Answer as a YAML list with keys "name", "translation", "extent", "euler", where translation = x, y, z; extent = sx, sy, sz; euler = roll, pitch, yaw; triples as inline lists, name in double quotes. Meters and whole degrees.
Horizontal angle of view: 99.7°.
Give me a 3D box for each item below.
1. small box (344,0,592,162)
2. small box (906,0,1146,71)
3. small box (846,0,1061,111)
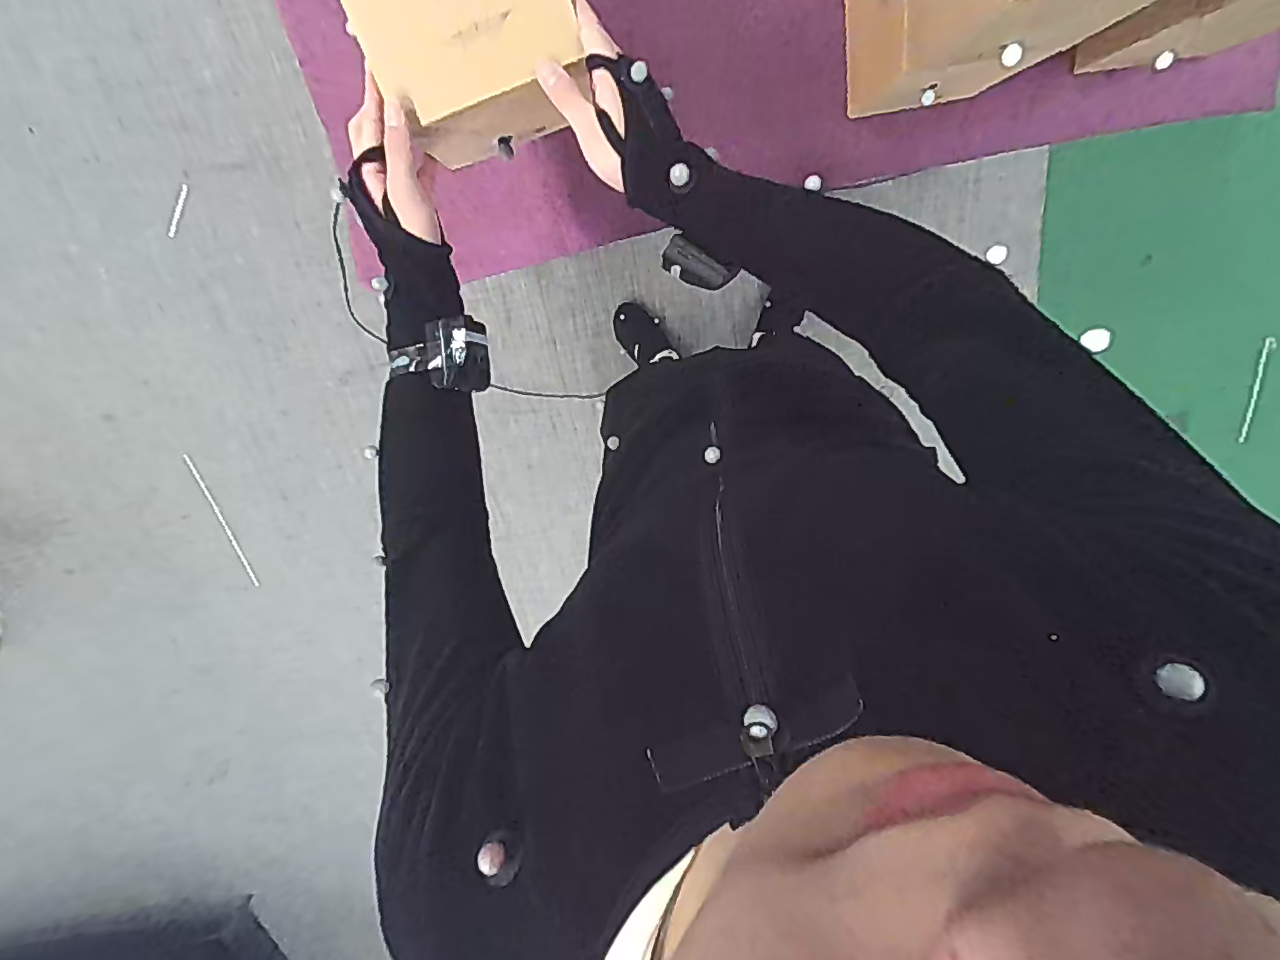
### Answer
- name: "small box"
  translation: [-0.147, -0.409, 0.470]
  extent: [0.168, 0.176, 0.179]
  euler: [-19, 111, 4]
- name: "small box"
  translation: [0.337, -0.477, 0.442]
  extent: [0.168, 0.176, 0.179]
  euler: [-8, 111, 4]
- name: "small box"
  translation: [0.337, -0.534, 0.596]
  extent: [0.168, 0.176, 0.179]
  euler: [-8, 110, 4]
